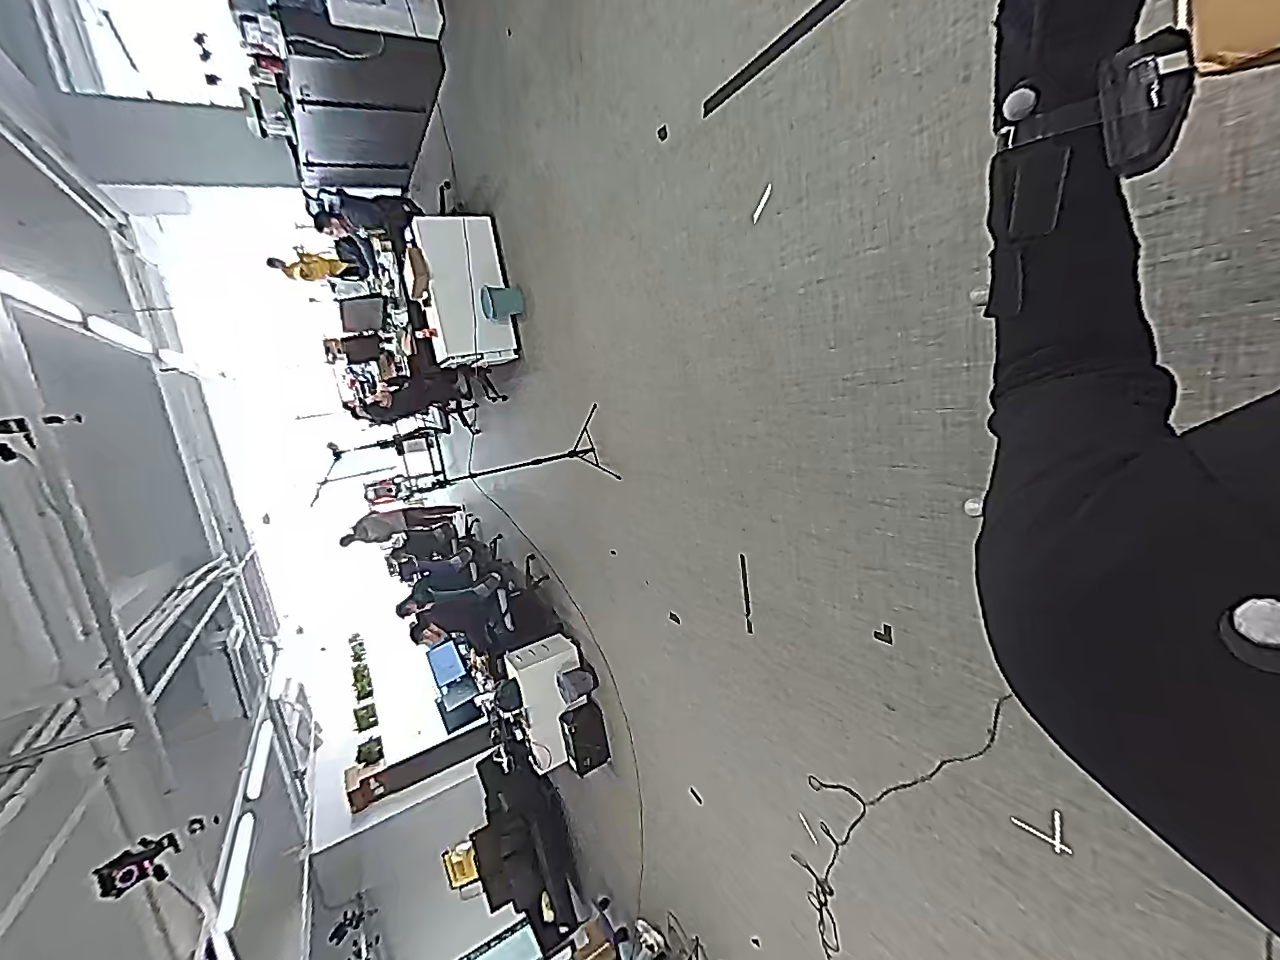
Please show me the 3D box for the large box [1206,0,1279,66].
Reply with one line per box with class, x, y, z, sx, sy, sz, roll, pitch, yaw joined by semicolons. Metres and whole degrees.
large box;0.467;-0.404;0.148;0.408;0.320;0.320;4;118;59
